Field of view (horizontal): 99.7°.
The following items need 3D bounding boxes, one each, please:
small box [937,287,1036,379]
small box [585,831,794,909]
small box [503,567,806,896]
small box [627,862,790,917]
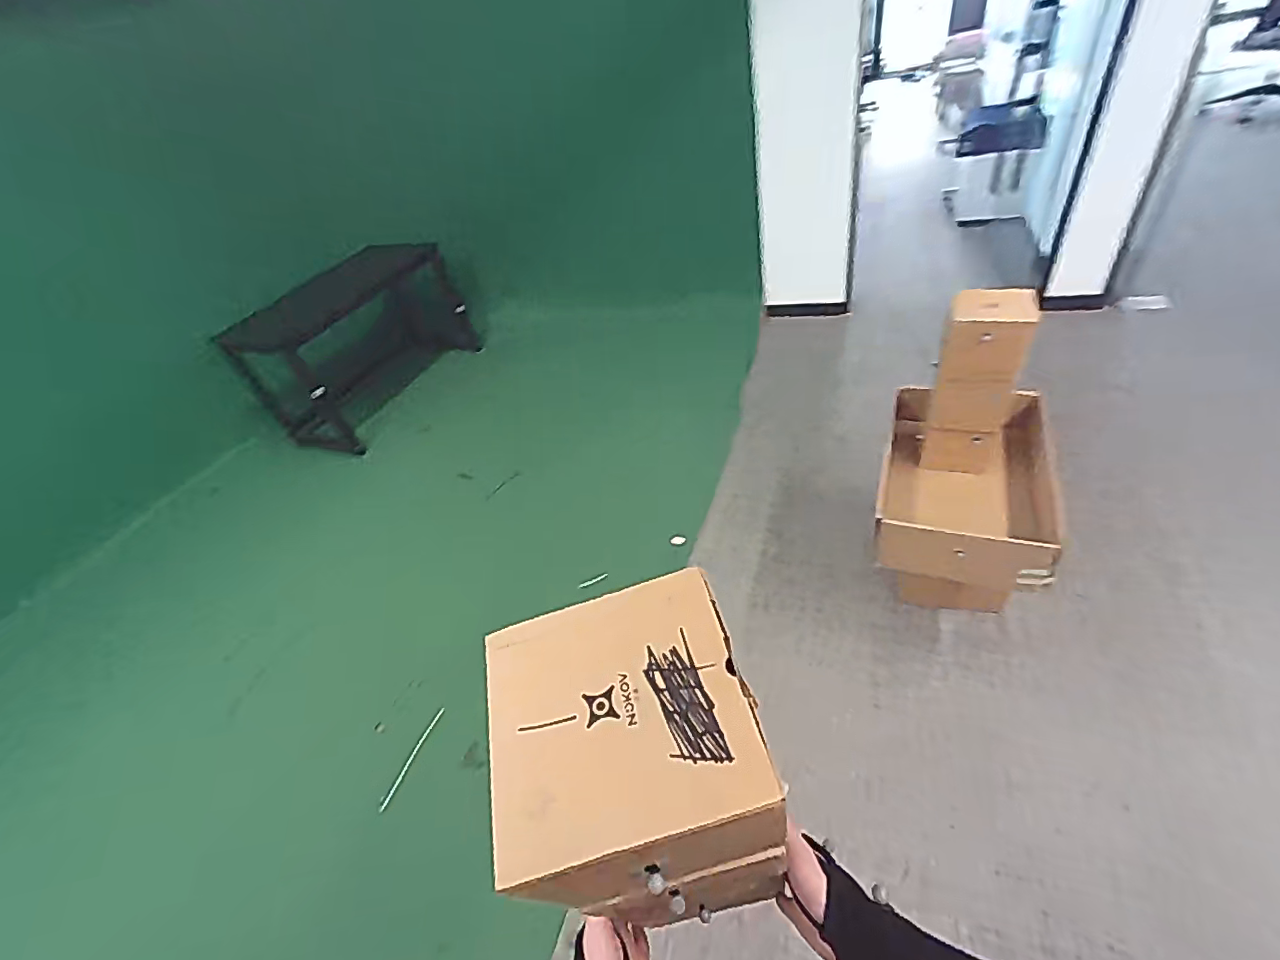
[{"bbox_3d":[0.874,-0.373,1.377,0.179,0.176,0.168,8,47,22],"label":"small box"},{"bbox_3d":[0.043,0.305,0.537,0.179,0.176,0.168,-16,48,2],"label":"small box"},{"bbox_3d":[0.011,0.197,0.417,0.179,0.176,0.168,-17,48,1],"label":"small box"},{"bbox_3d":[0.075,0.411,0.657,0.179,0.176,0.168,-14,47,3],"label":"small box"}]
